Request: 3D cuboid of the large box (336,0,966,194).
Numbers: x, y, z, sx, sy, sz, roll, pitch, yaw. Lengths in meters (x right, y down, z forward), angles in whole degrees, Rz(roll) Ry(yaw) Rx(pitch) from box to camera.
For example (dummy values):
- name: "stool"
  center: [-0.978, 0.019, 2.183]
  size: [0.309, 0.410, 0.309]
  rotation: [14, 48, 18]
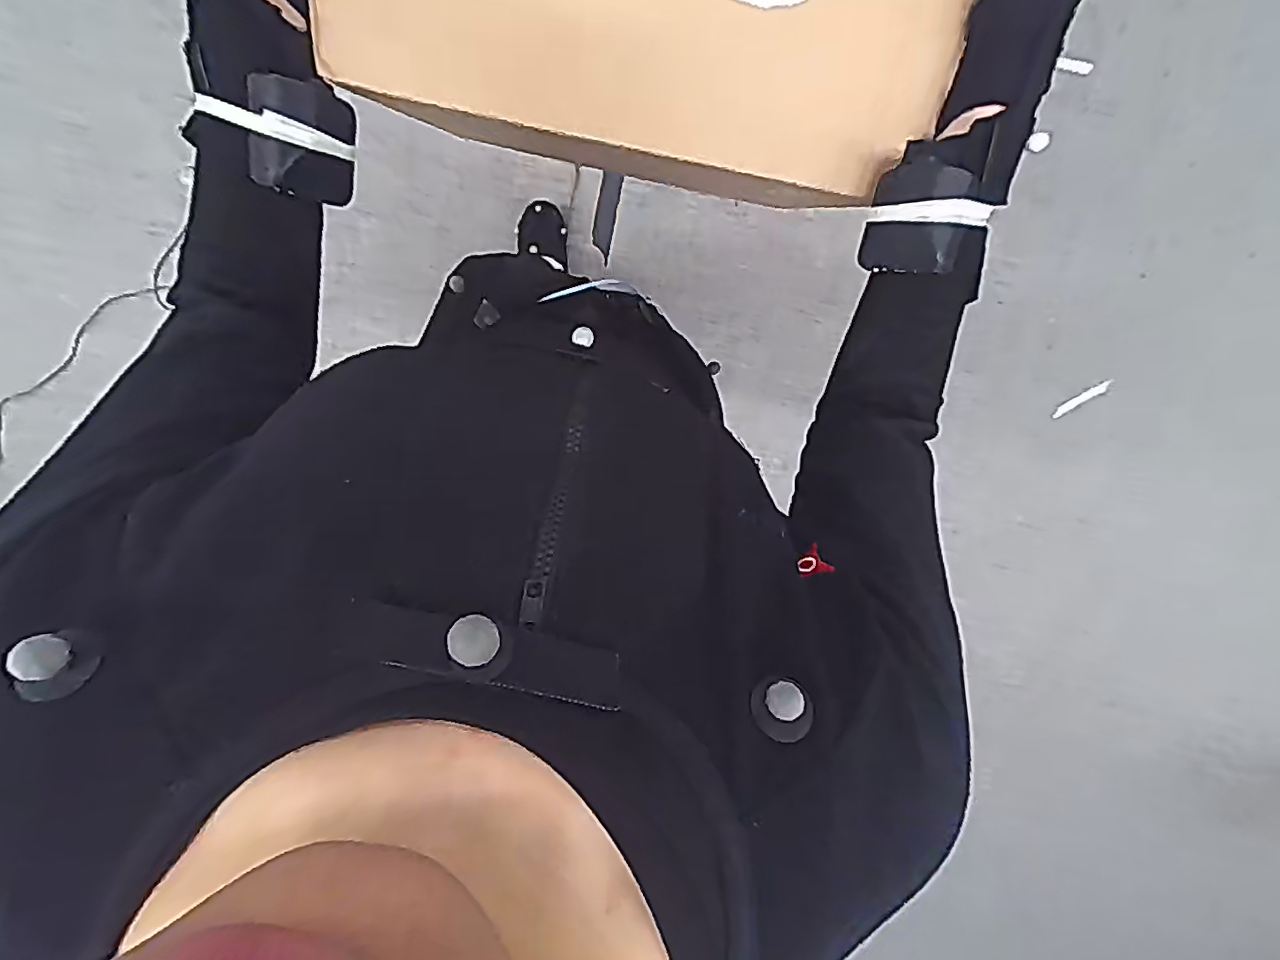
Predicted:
- name: "large box"
  center: [0.016, -0.442, 0.441]
  size: [0.408, 0.320, 0.320]
  rotation: [8, 117, -7]
